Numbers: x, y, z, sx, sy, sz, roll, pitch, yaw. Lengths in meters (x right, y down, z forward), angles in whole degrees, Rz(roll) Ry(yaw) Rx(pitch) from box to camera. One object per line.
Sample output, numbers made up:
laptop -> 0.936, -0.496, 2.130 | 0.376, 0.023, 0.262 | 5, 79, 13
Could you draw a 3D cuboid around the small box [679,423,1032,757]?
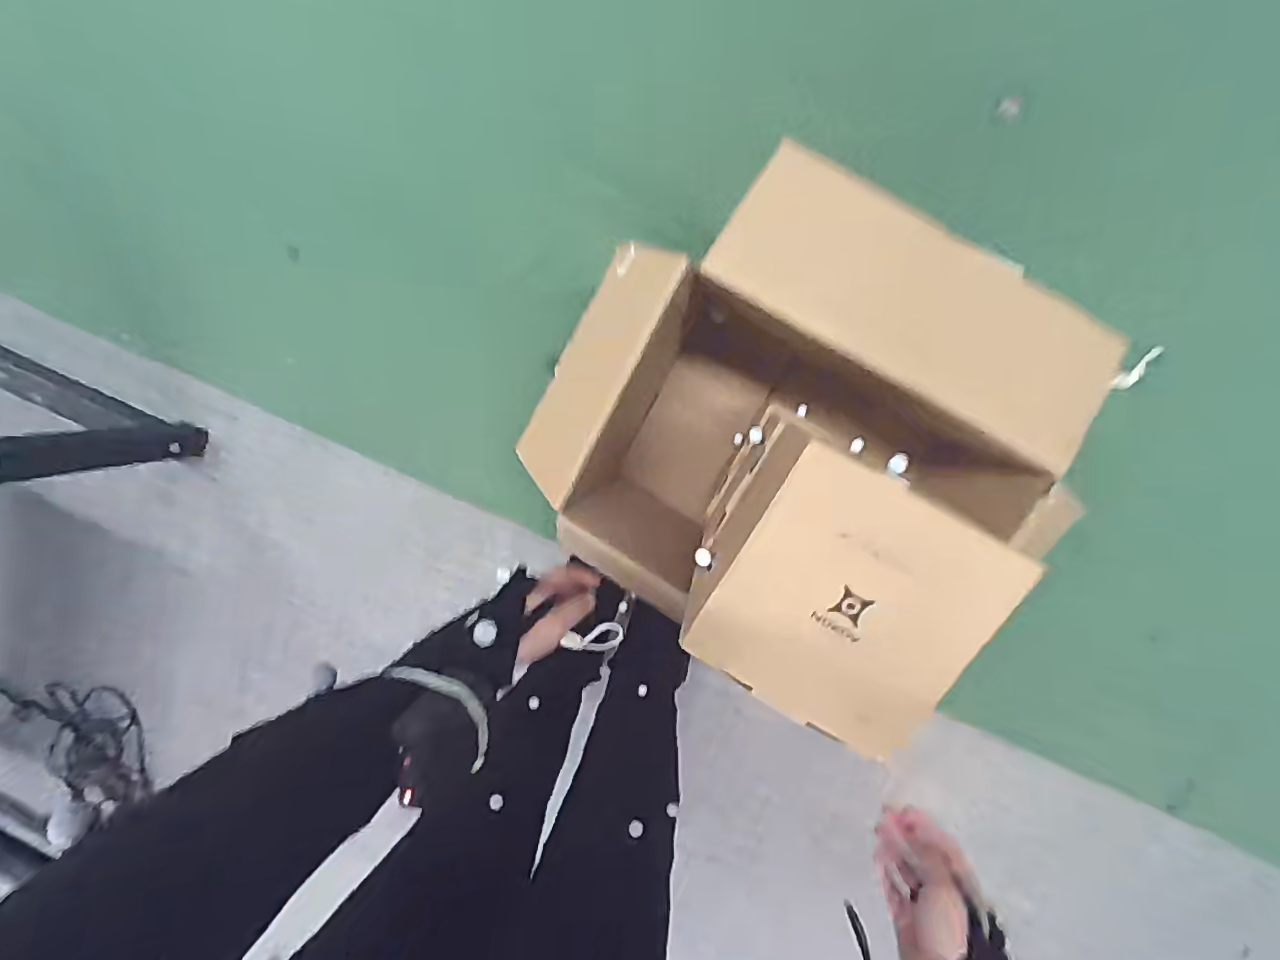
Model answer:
small box -> 0.151, 0.069, 0.439 | 0.168, 0.176, 0.179 | 29, 103, 4
